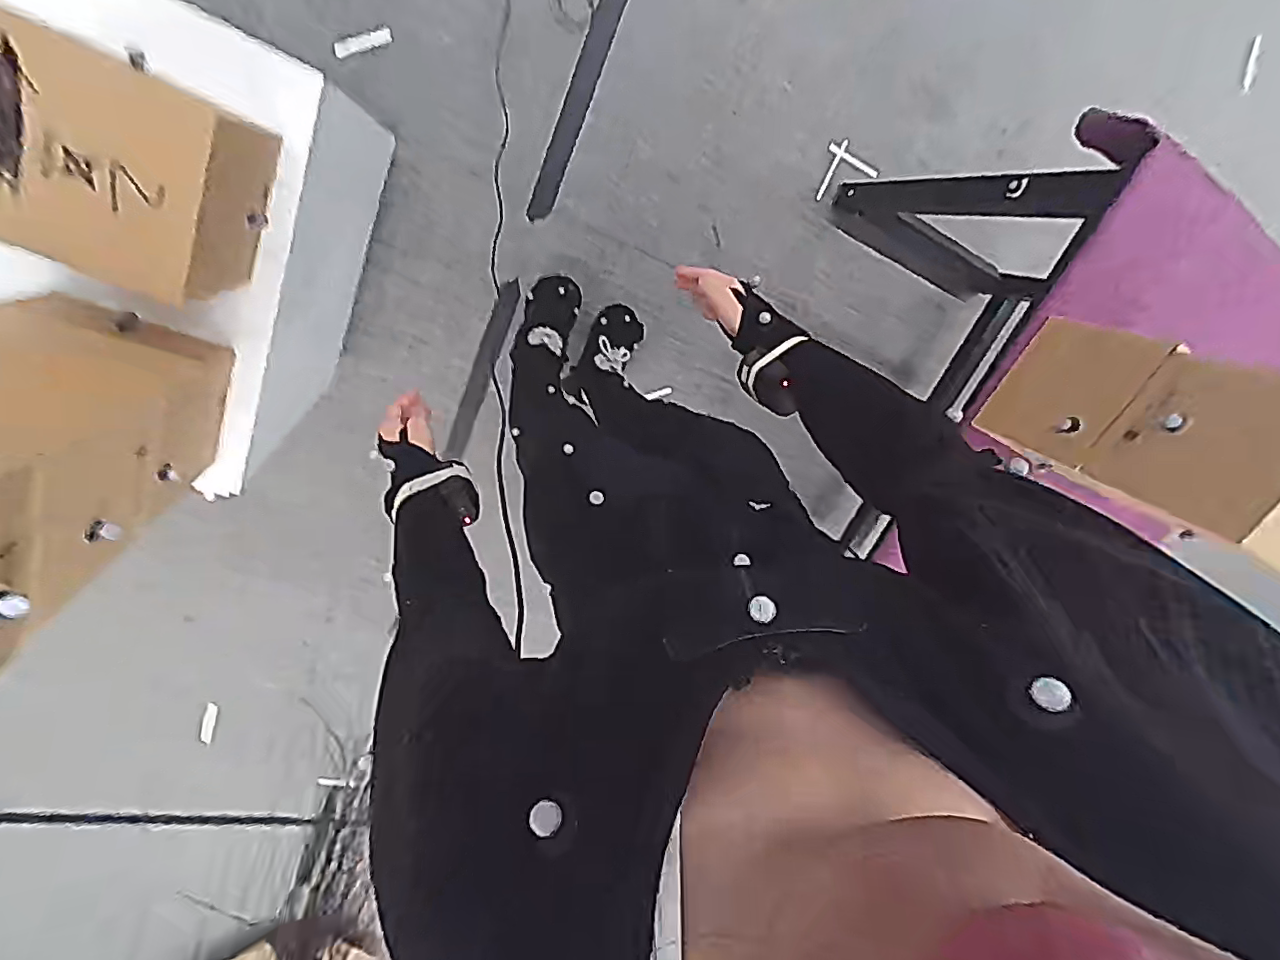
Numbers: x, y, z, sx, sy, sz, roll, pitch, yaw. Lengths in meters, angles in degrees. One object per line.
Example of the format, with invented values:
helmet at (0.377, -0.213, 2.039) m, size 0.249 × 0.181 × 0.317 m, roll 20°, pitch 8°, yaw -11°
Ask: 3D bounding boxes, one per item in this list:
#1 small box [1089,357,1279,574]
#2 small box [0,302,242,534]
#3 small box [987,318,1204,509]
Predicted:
small box at (0.664, -0.017, 0.593) m, size 0.179 × 0.176 × 0.168 m, roll 20°, pitch 109°, yaw -23°
small box at (-0.561, -0.072, 0.563) m, size 0.179 × 0.176 × 0.168 m, roll 18°, pitch 110°, yaw -22°
small box at (0.617, -0.094, 0.730) m, size 0.168 × 0.176 × 0.179 m, roll 21°, pitch 109°, yaw -24°
